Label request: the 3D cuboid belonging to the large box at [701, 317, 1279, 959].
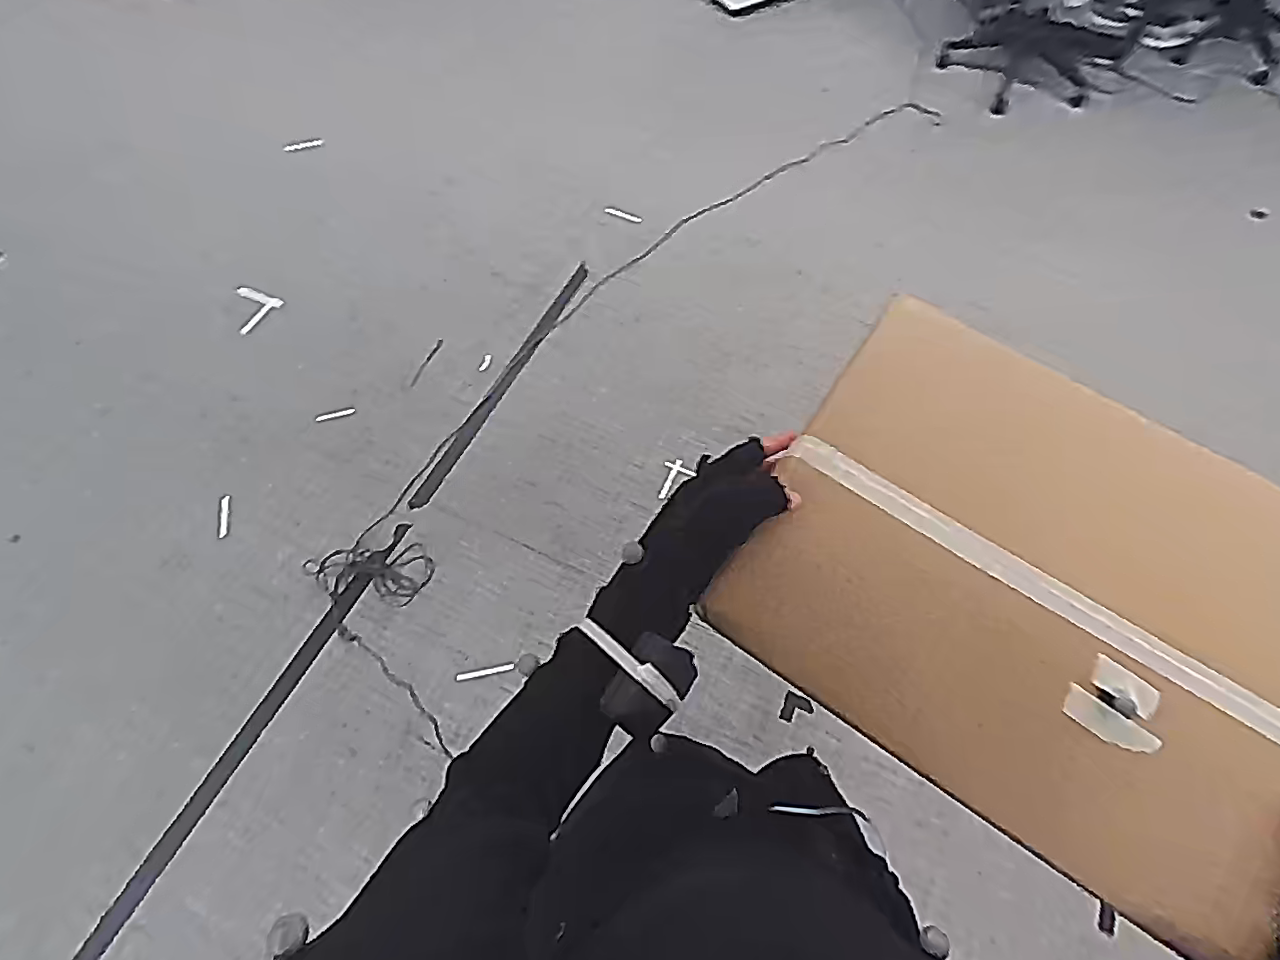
[{"bbox_3d":[0.311,0.118,0.546,0.408,0.320,0.320,34,84,11],"label":"large box"}]
